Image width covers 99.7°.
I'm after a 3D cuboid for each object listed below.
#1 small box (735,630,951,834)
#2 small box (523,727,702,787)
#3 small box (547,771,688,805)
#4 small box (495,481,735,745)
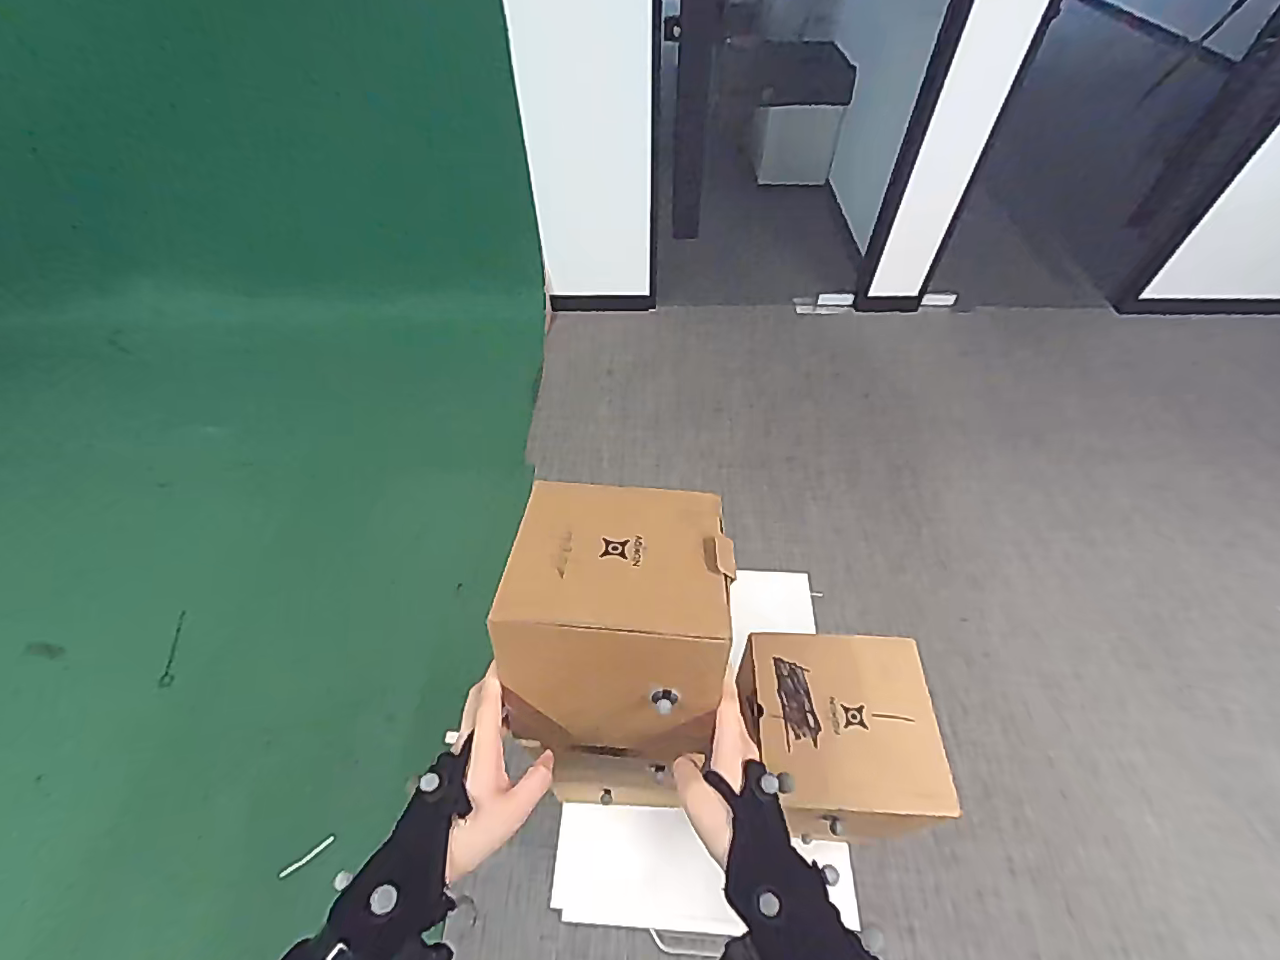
[{"bbox_3d":[0.200,0.281,0.597,0.179,0.176,0.168,2,51,3],"label":"small box"},{"bbox_3d":[-0.024,0.245,0.627,0.179,0.176,0.168,5,51,1],"label":"small box"},{"bbox_3d":[-0.026,0.346,0.756,0.179,0.176,0.168,3,51,0],"label":"small box"},{"bbox_3d":[-0.017,0.121,0.497,0.179,0.176,0.168,3,36,1],"label":"small box"}]
